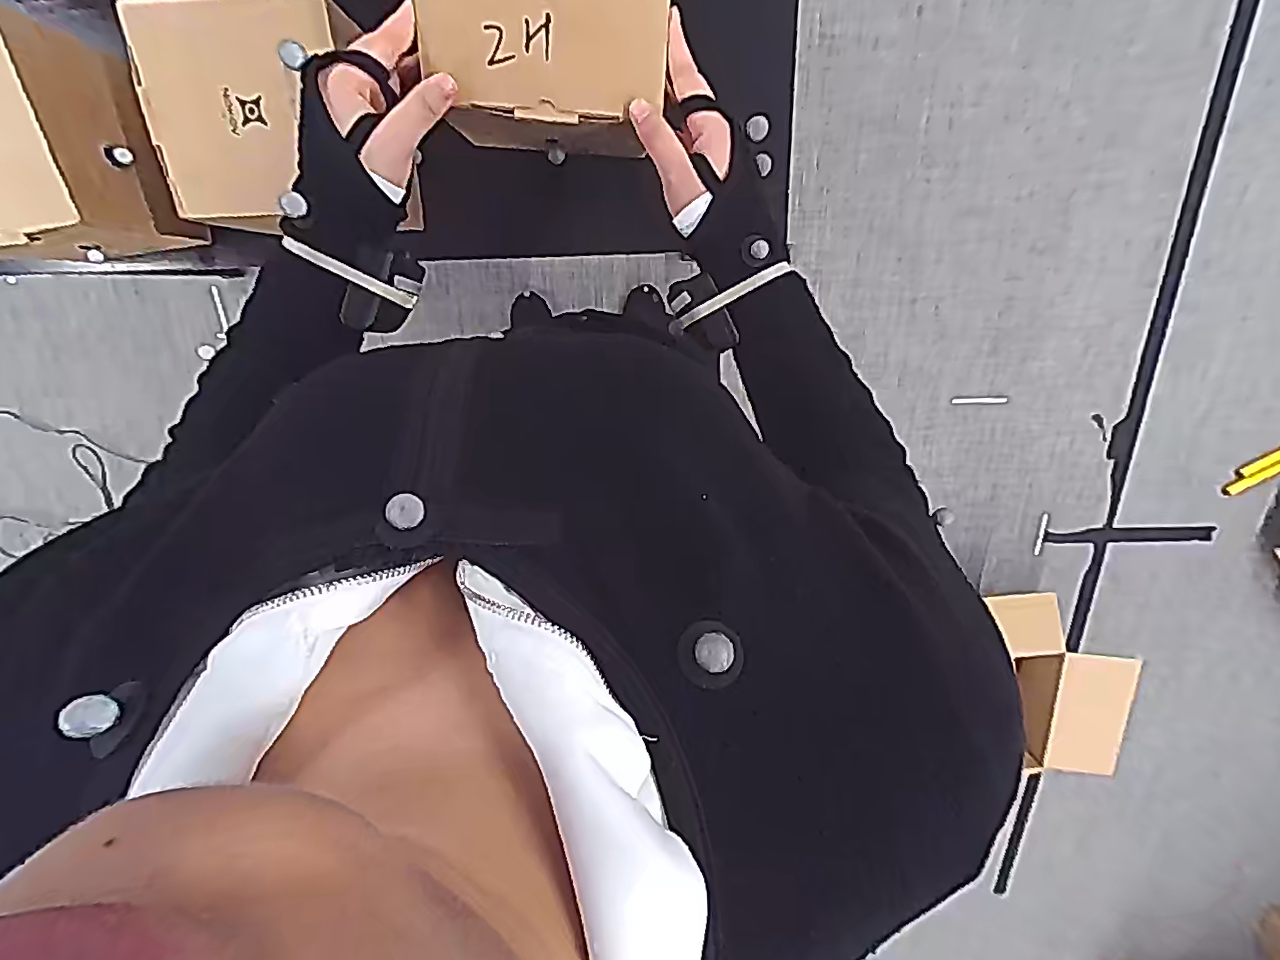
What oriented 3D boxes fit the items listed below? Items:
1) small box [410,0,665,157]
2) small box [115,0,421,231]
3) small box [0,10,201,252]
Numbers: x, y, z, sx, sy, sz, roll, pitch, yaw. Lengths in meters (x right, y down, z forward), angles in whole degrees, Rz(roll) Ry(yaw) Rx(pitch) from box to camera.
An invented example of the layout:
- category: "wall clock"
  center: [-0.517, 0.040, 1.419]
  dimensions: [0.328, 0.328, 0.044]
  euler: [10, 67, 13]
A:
- category: "small box"
  center: [-0.070, -0.368, 0.413]
  dimensions: [0.168, 0.176, 0.179]
  euler: [2, 112, -5]
- category: "small box"
  center: [-0.348, -0.351, 0.547]
  dimensions: [0.179, 0.176, 0.168]
  euler: [-2, 109, -1]
- category: "small box"
  center: [-0.605, -0.333, 0.545]
  dimensions: [0.168, 0.176, 0.179]
  euler: [-8, 110, 1]
